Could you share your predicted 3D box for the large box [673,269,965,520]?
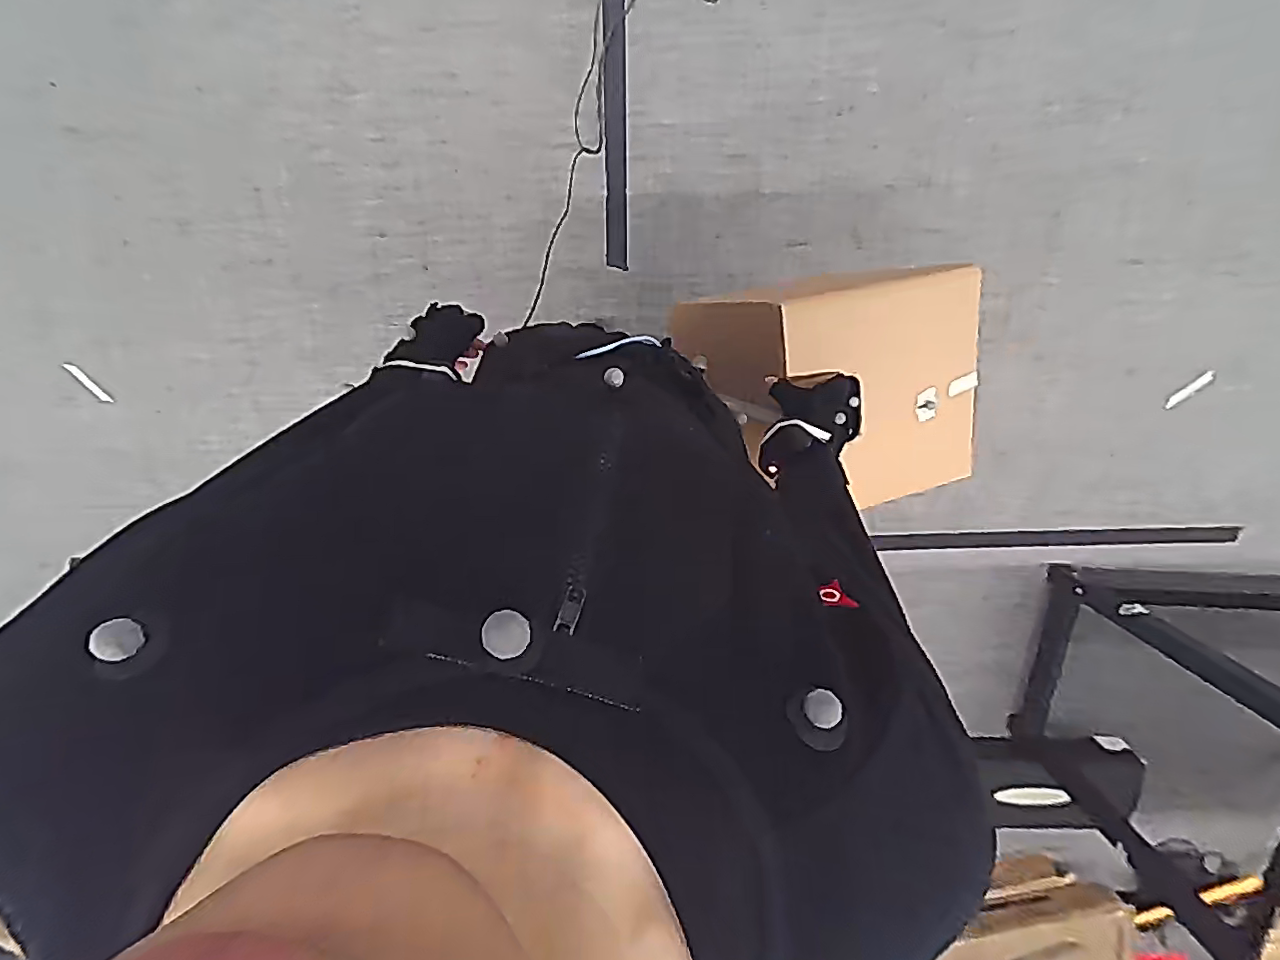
[{"bbox_3d":[0.284,-0.169,0.946,0.320,0.408,0.320,-13,110,-12],"label":"large box"}]
